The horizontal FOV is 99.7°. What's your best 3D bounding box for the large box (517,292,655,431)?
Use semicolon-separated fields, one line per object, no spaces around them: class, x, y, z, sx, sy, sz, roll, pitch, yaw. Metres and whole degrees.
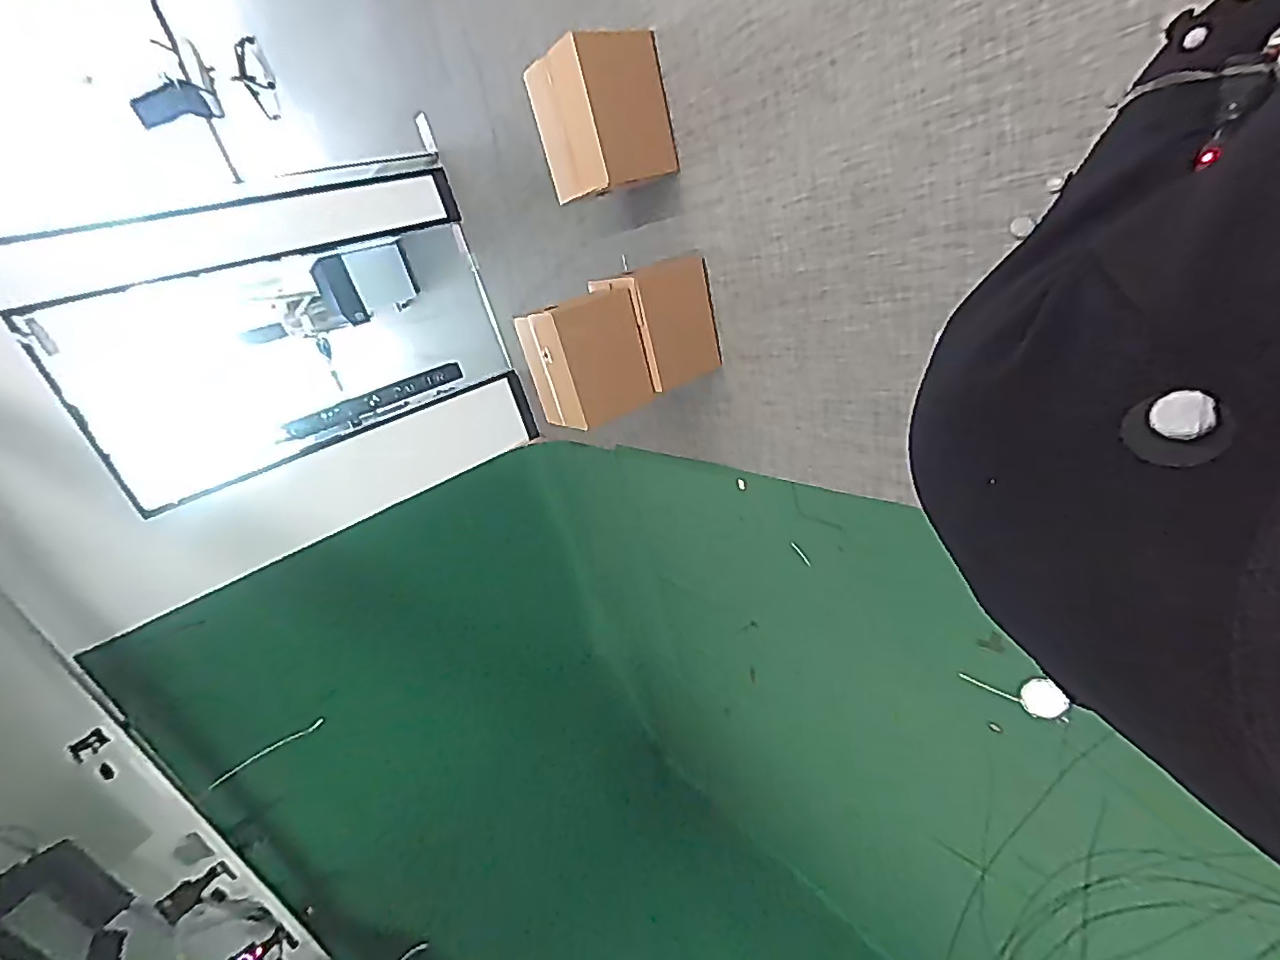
large box;-0.188;-0.429;1.945;0.320;0.320;0.408;19;129;53
